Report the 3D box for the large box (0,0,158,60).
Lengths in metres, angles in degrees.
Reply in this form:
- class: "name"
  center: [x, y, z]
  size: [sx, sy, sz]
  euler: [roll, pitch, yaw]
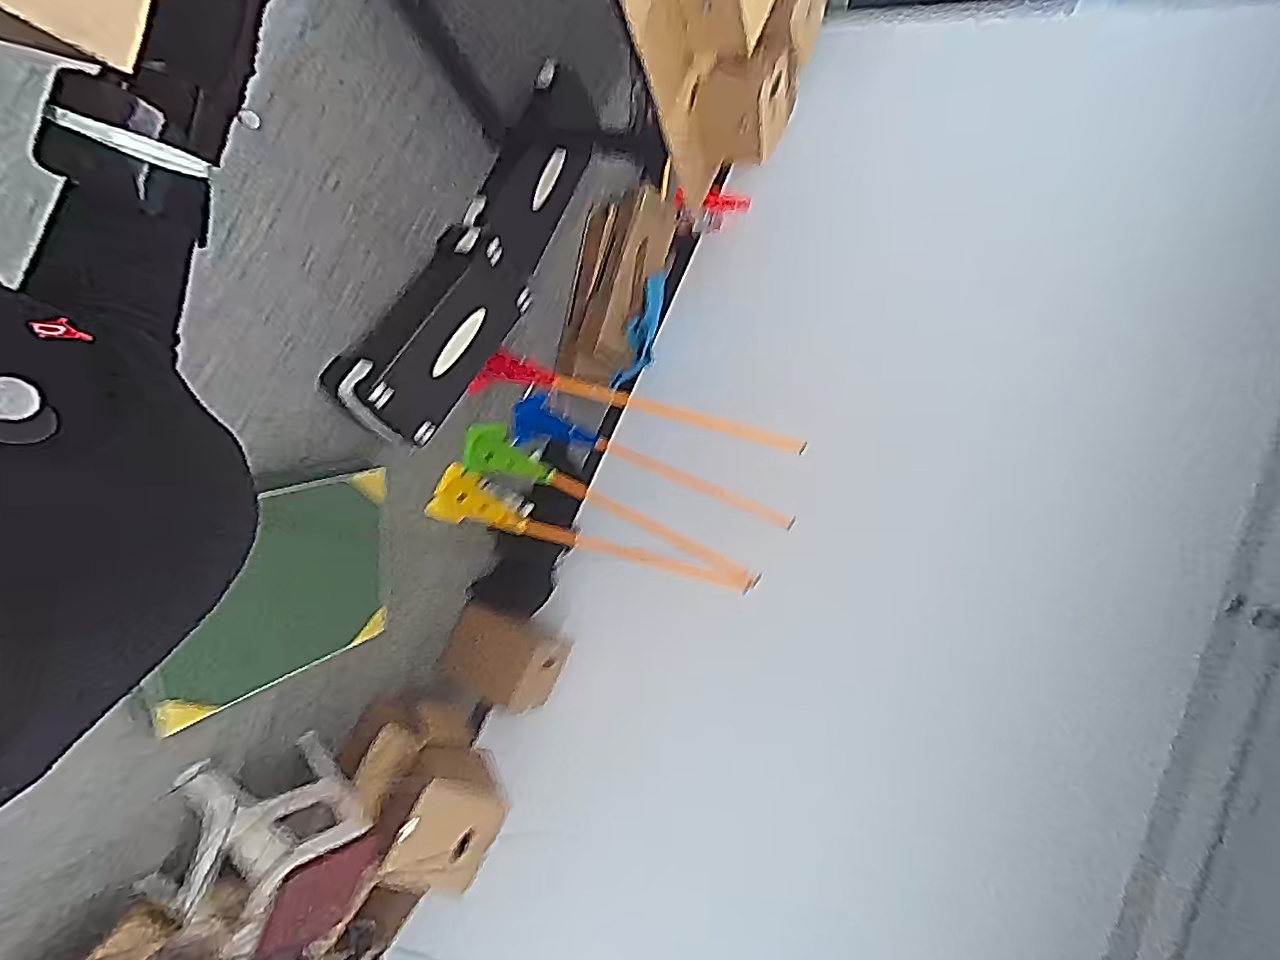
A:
- class: "large box"
  center: [-0.459, -0.453, 0.187]
  size: [0.408, 0.320, 0.320]
  euler: [1, 115, -63]
